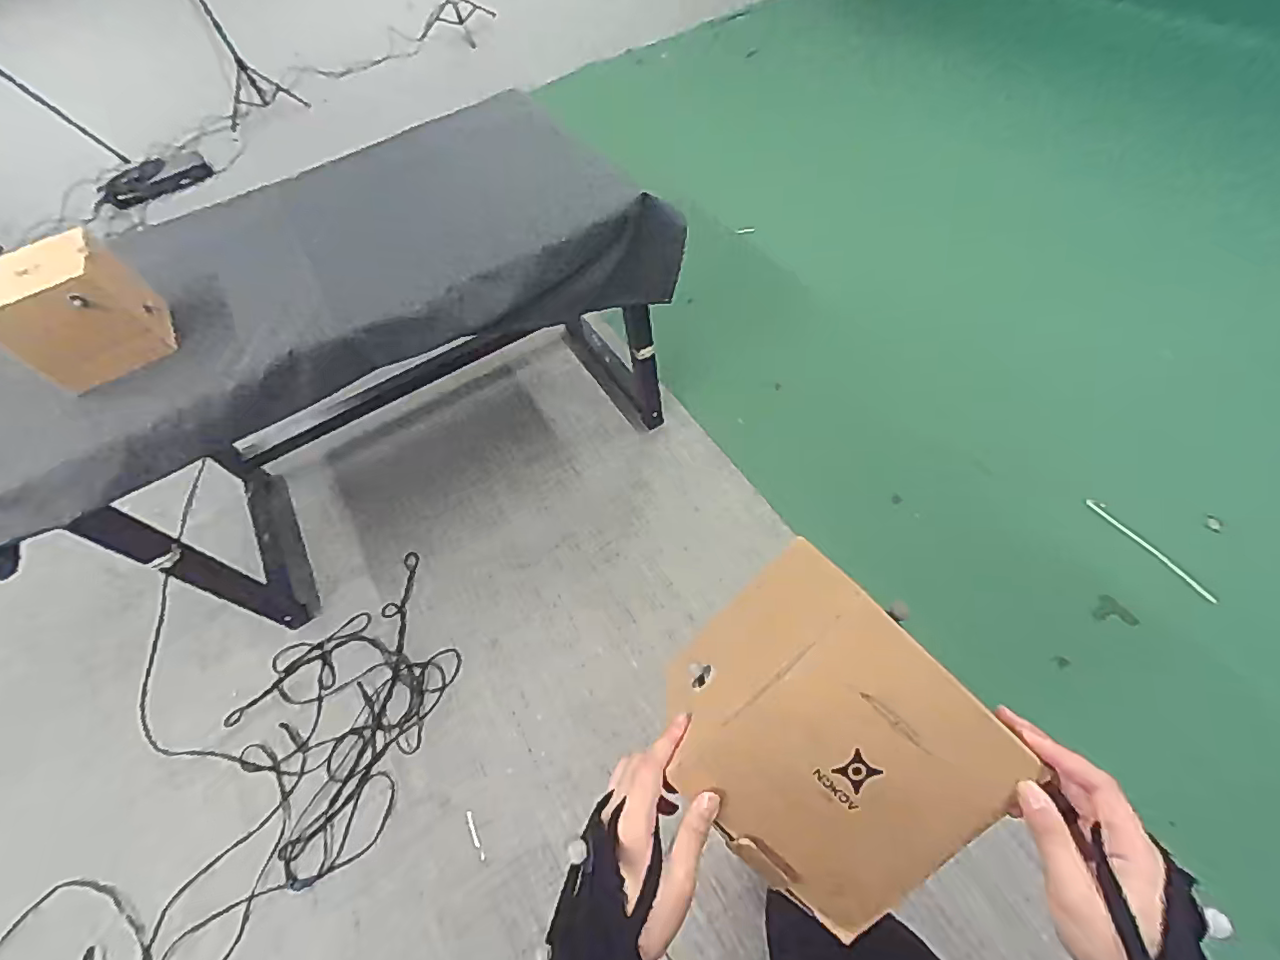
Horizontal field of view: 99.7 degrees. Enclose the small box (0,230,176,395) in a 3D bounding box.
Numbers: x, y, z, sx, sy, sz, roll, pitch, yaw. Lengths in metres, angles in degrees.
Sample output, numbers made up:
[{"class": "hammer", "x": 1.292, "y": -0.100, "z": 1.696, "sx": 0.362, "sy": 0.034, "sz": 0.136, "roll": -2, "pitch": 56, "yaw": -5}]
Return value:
[{"class": "small box", "x": -0.934, "y": -0.274, "z": 0.901, "sx": 0.179, "sy": 0.176, "sz": 0.168, "roll": -31, "pitch": 59, "yaw": -13}]
